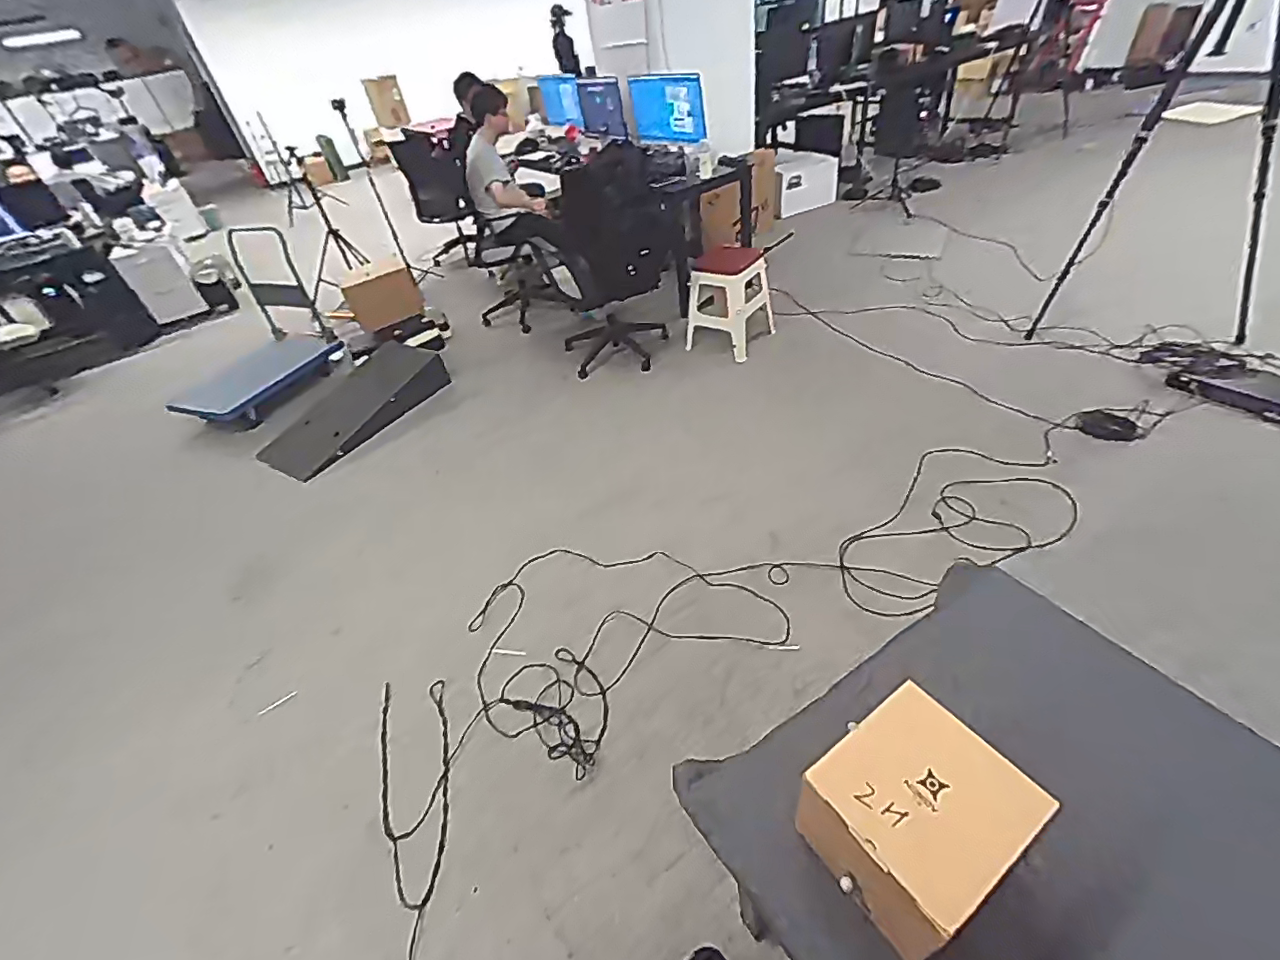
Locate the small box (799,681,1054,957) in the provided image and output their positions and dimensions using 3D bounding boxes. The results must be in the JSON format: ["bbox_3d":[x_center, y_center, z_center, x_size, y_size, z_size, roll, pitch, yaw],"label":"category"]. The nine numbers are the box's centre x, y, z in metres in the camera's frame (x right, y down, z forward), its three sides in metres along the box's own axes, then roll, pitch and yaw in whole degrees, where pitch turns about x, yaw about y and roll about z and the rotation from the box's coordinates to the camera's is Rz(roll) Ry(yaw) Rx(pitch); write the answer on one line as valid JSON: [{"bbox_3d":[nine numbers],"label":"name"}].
[{"bbox_3d":[0.293,0.367,0.594,0.179,0.176,0.168,-28,44,-20],"label":"small box"}]
